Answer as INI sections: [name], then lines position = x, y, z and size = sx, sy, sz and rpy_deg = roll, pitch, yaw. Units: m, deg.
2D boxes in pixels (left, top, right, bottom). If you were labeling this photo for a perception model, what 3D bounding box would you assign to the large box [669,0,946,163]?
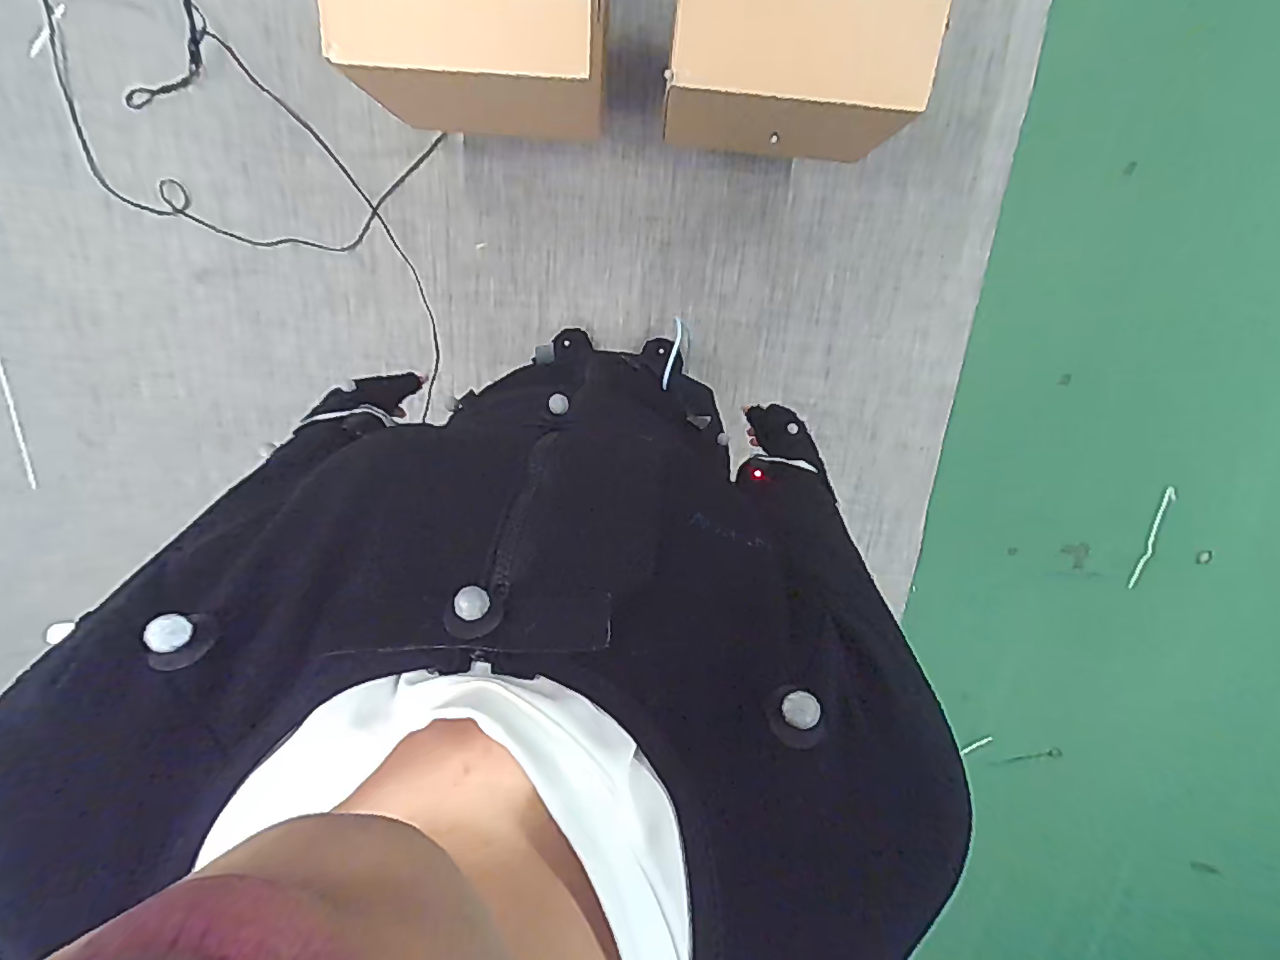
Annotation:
[large box]
position = 0.270, -0.783, 0.957
size = 0.408, 0.320, 0.320
rpy_deg = 6, 107, -1
